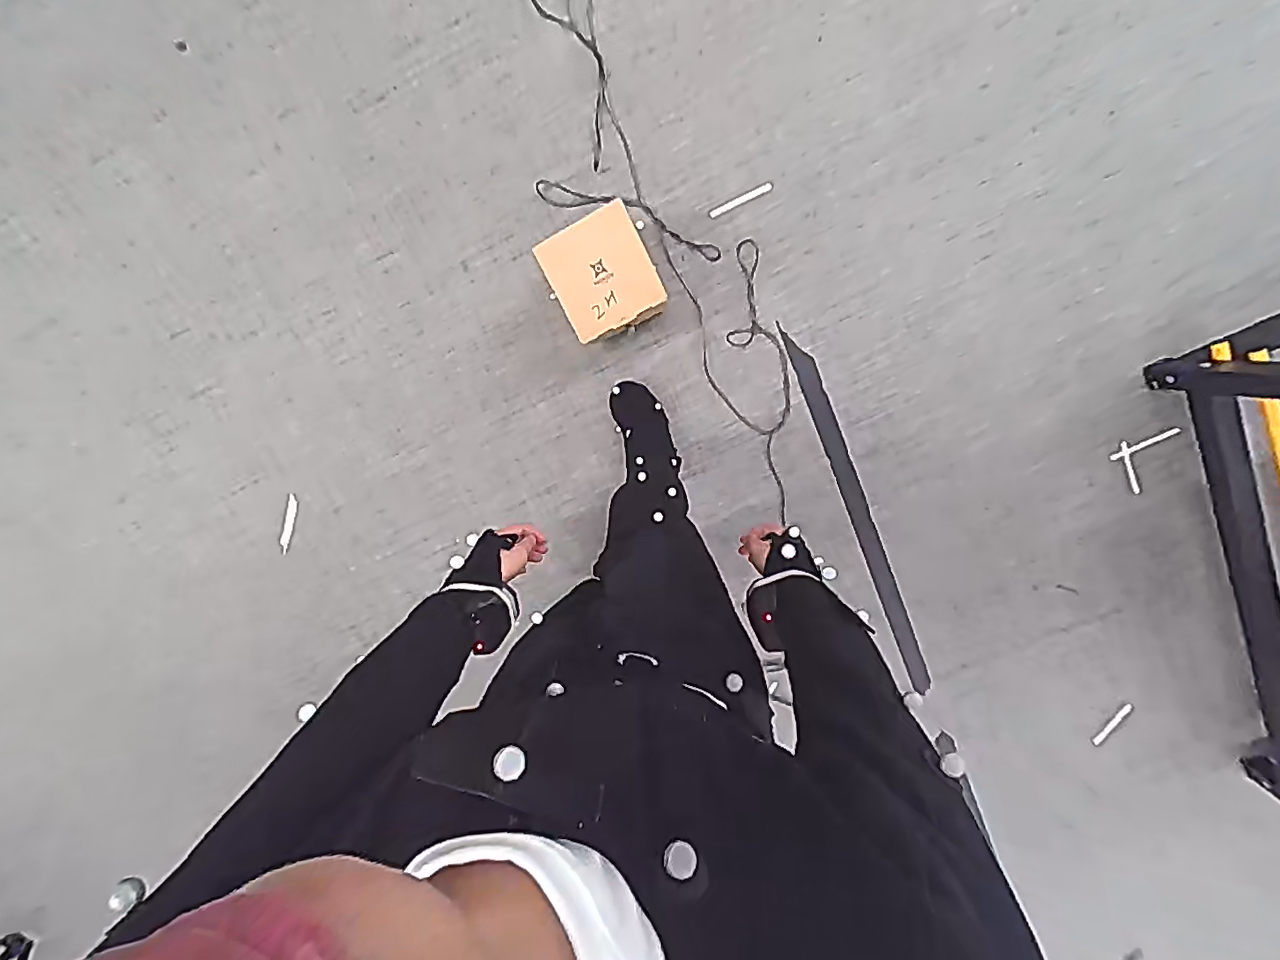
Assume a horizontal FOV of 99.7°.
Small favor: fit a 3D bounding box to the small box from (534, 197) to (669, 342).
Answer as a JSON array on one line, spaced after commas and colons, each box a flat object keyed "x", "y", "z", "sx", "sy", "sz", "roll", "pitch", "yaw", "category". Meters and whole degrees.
[{"x": -0.061, "y": -0.356, "z": 0.951, "sx": 0.168, "sy": 0.176, "sz": 0.179, "roll": -26, "pitch": 103, "yaw": 8, "category": "small box"}]
